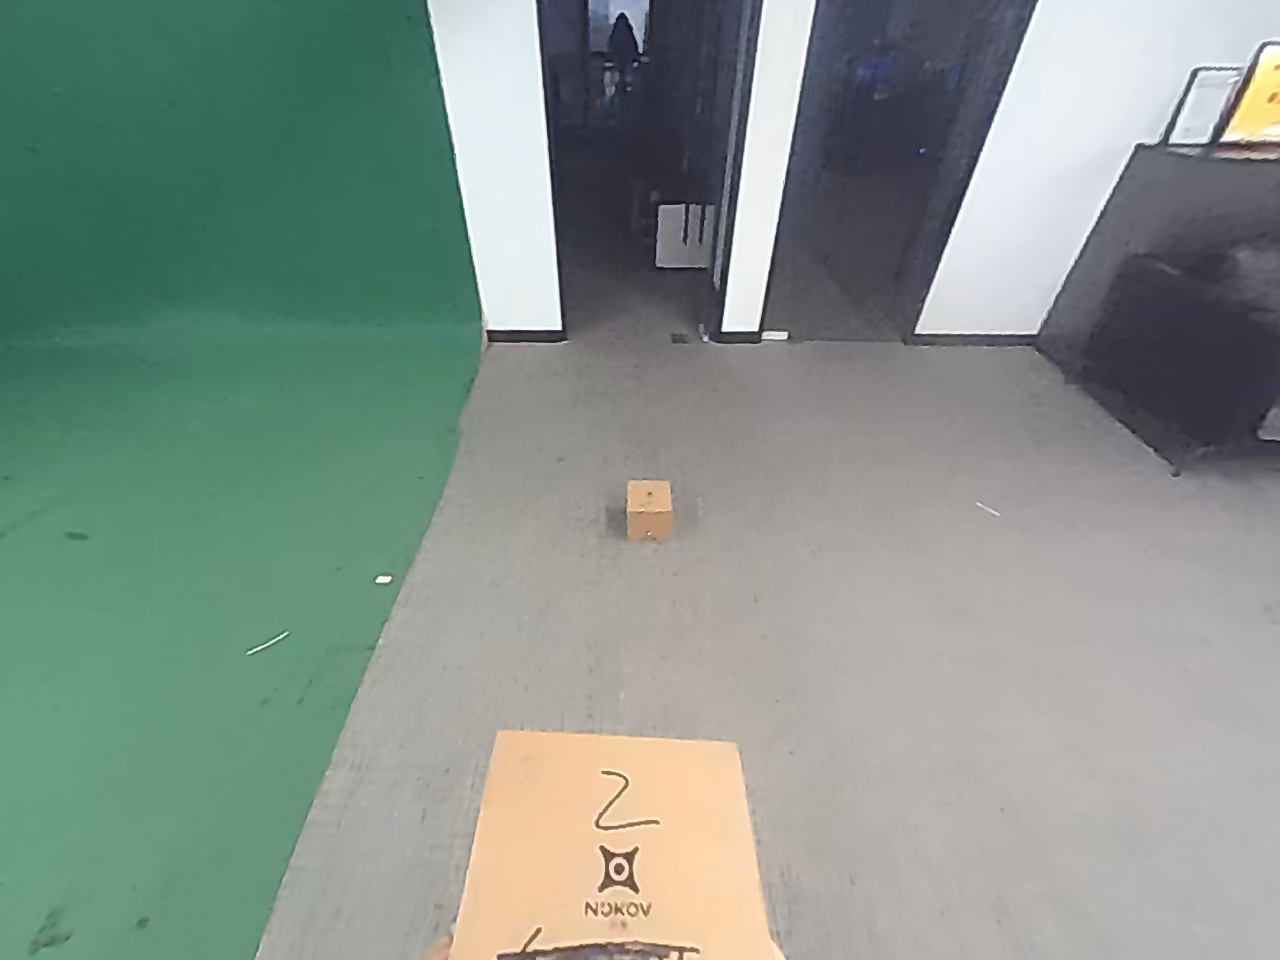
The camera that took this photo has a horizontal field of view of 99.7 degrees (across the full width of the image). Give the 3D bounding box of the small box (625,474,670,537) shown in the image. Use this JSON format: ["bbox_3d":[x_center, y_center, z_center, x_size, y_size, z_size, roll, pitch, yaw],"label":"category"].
[{"bbox_3d":[0.027,0.097,2.075,0.168,0.176,0.179,0,42,-1],"label":"small box"}]
